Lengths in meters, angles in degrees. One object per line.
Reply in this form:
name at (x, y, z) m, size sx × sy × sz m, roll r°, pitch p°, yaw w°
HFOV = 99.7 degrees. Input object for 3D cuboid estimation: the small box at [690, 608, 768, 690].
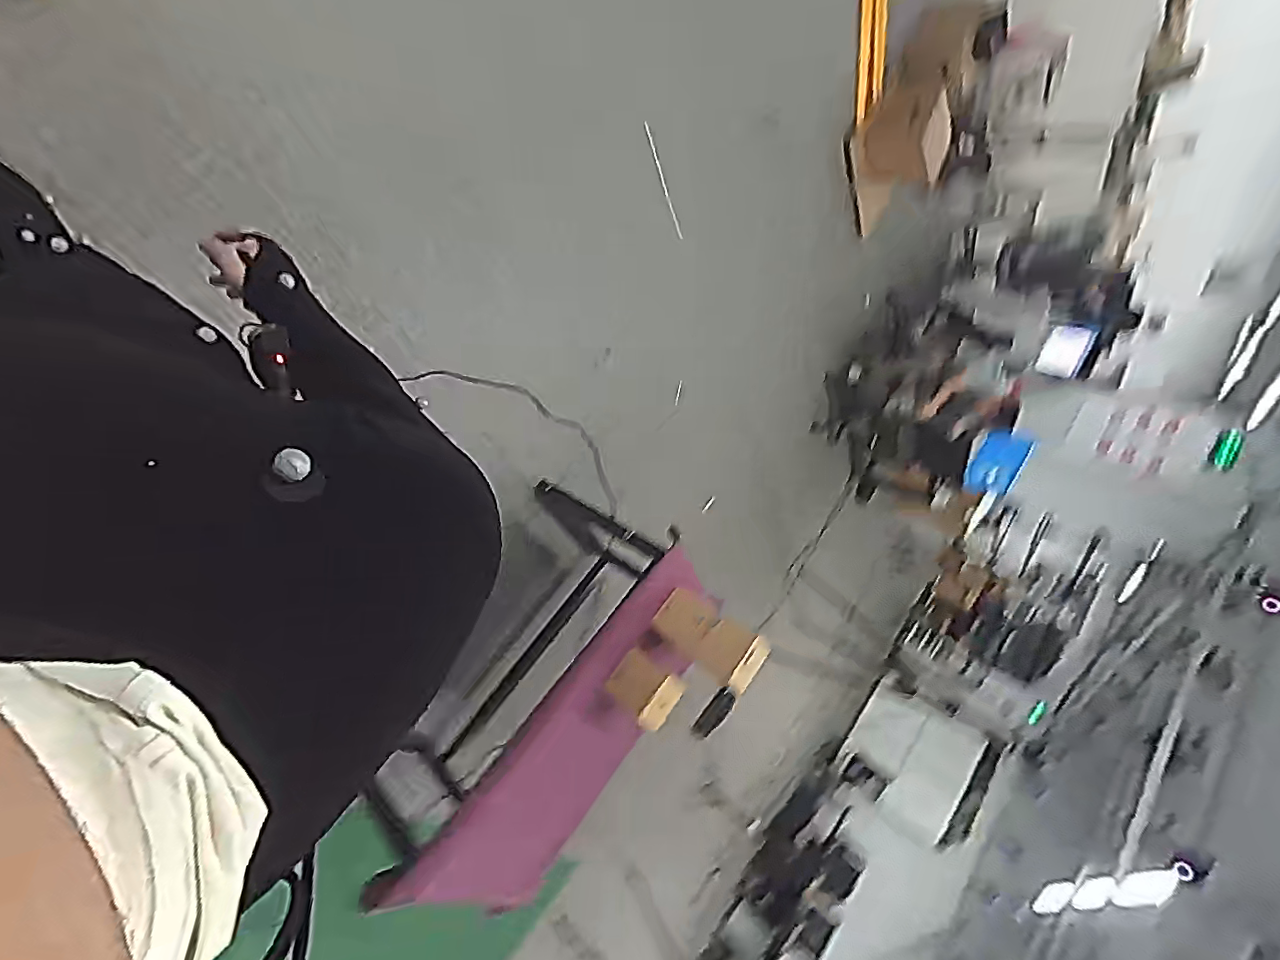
small box at (0.285, 0.539, 1.743) m, size 0.168 × 0.176 × 0.179 m, roll -51°, pitch 142°, yaw -17°

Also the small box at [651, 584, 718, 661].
small box at (0.167, 0.482, 1.843) m, size 0.168 × 0.176 × 0.179 m, roll -52°, pitch 142°, yaw -17°

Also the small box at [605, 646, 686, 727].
small box at (0.018, 0.671, 1.769) m, size 0.168 × 0.176 × 0.179 m, roll -52°, pitch 141°, yaw -17°
